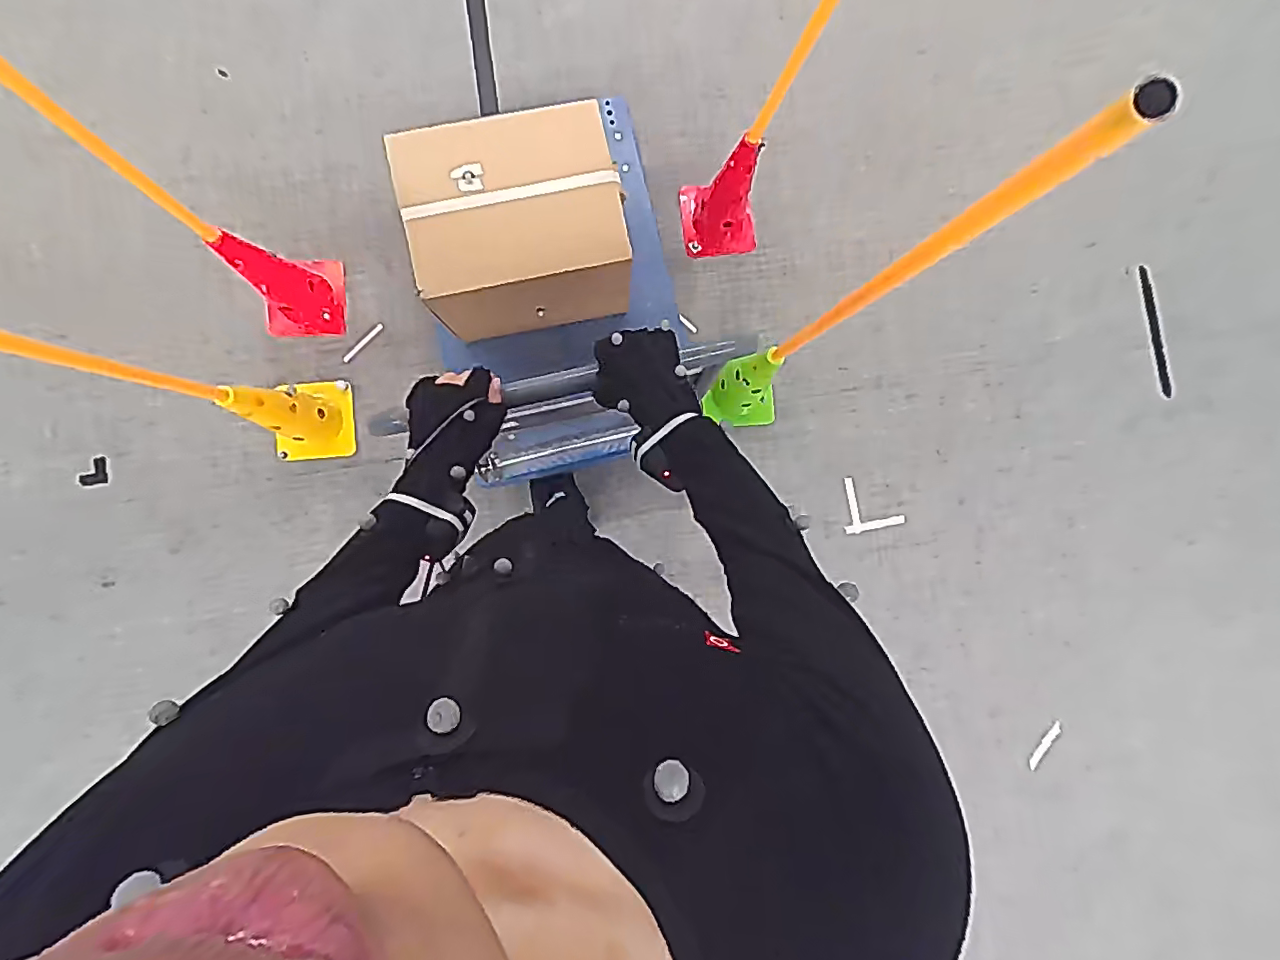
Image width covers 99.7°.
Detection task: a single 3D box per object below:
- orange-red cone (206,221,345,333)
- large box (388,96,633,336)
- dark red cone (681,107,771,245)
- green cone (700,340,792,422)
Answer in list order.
[{"bbox_3d":[-0.870,-0.499,1.260,0.198,0.360,0.199,-1,87,-5],"label":"orange-red cone"},{"bbox_3d":[-0.247,-0.532,1.156,0.408,0.320,0.320,-13,90,-3],"label":"large box"},{"bbox_3d":[0.235,-0.750,1.318,0.201,0.394,0.202,-8,89,-6],"label":"dark red cone"},{"bbox_3d":[0.285,-0.267,1.326,0.202,0.368,0.200,-5,89,-5],"label":"green cone"}]
